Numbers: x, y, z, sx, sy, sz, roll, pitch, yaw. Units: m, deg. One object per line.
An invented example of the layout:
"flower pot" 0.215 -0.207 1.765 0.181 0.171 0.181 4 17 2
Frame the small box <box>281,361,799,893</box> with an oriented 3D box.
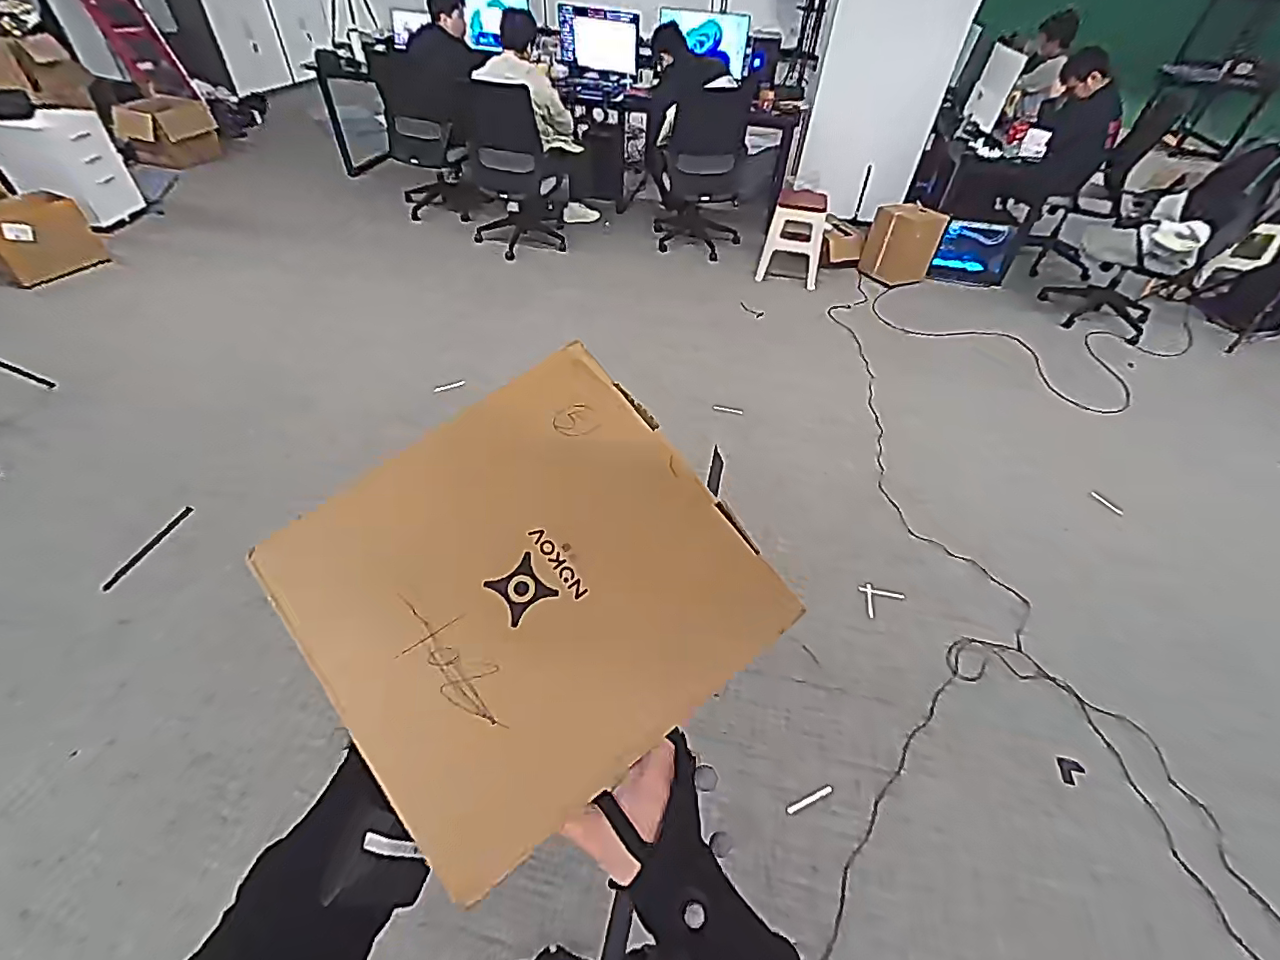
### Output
"small box" -0.047 0.070 0.316 0.179 0.176 0.168 -37 78 -11
